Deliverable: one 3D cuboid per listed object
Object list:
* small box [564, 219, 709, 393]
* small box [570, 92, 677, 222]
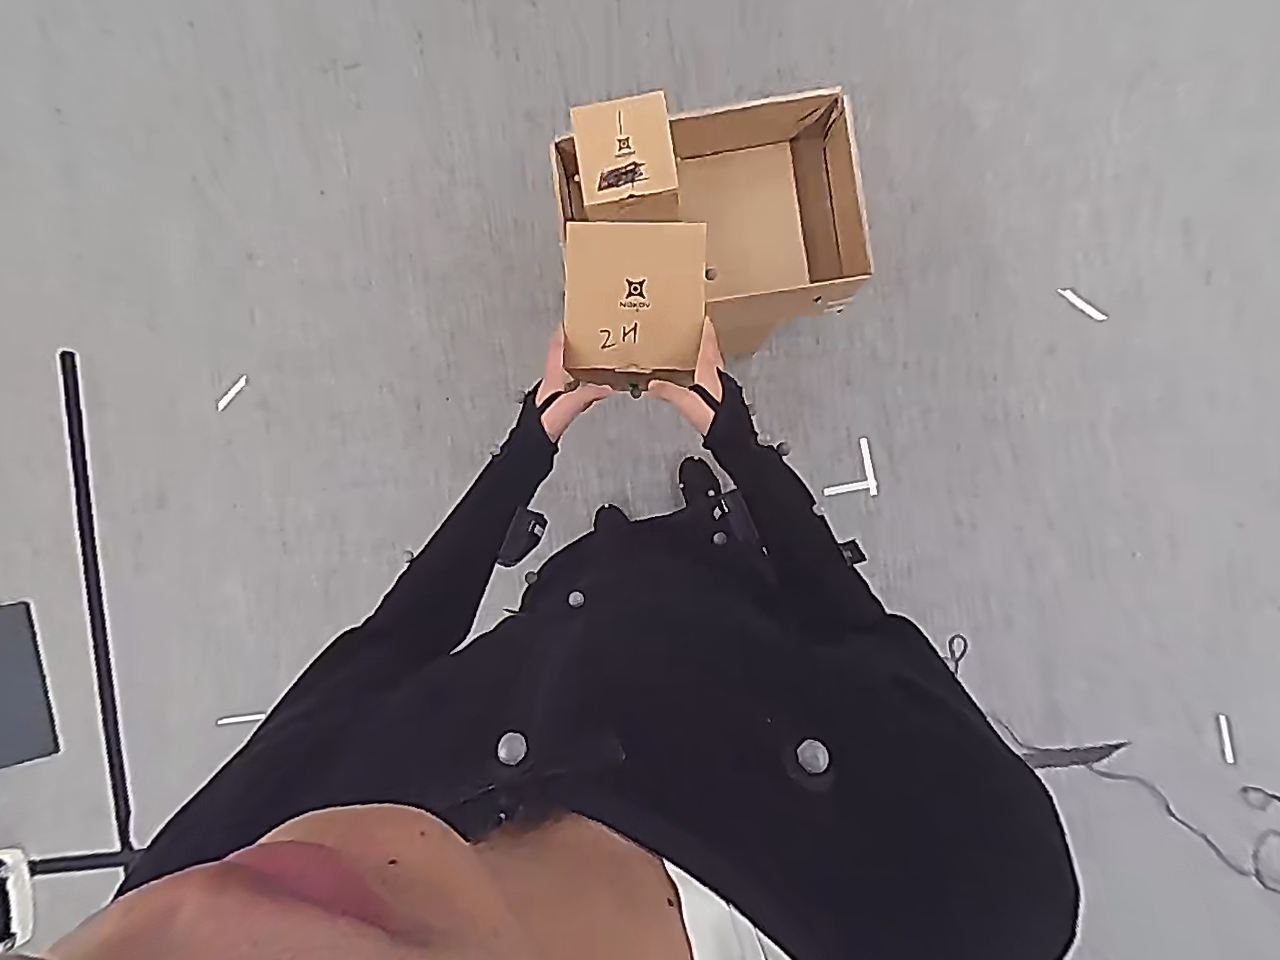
[{"bbox_3d":[-0.003,-0.216,0.709,0.168,0.176,0.179,2,92,2],"label":"small box"},{"bbox_3d":[-0.023,-0.558,0.994,0.168,0.176,0.179,-9,88,3],"label":"small box"}]
